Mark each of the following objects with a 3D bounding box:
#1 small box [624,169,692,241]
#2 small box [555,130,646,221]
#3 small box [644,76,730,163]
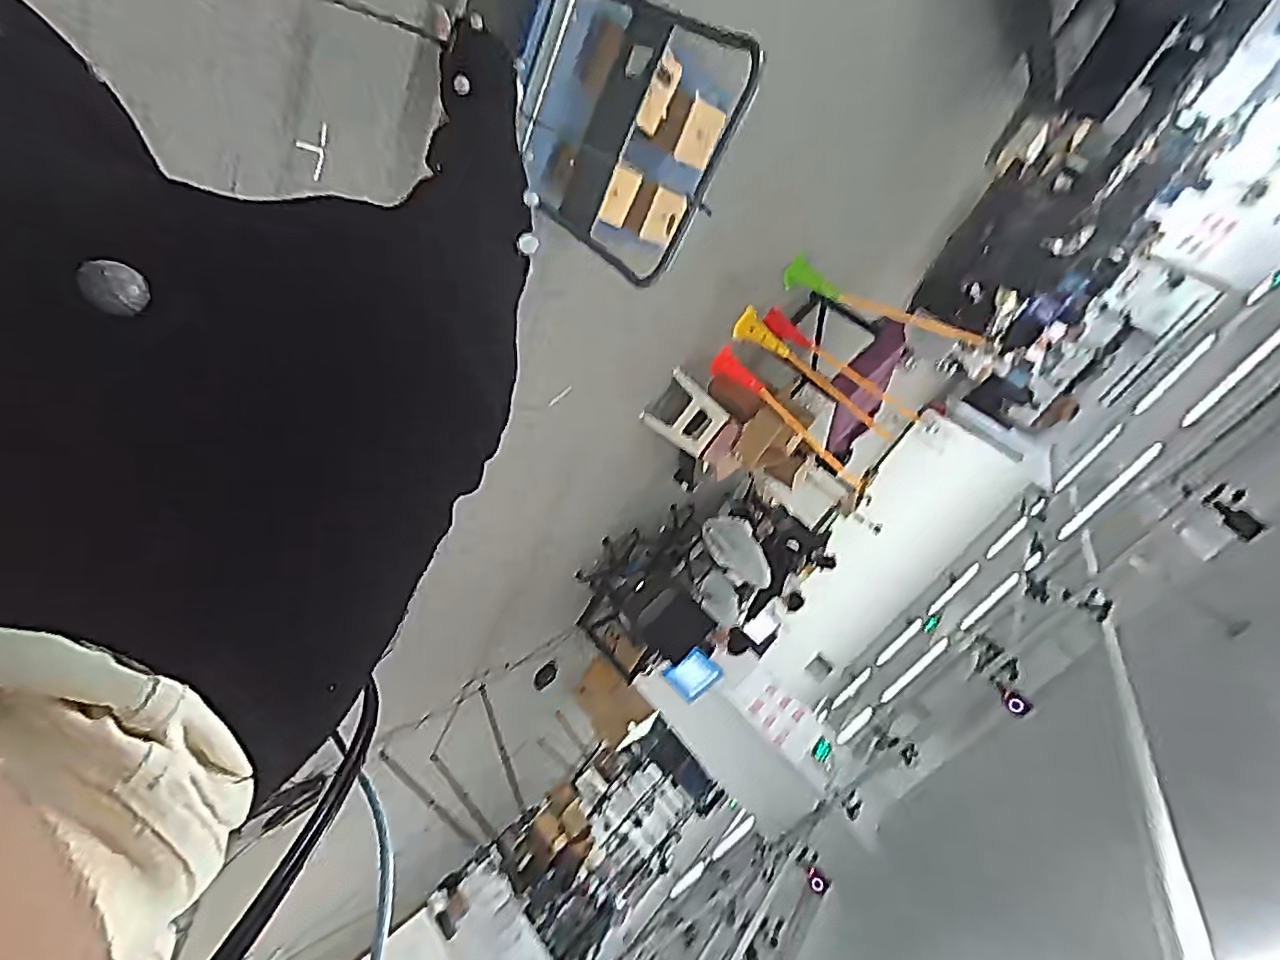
[{"bbox_3d":[0.038,-0.944,1.837,0.179,0.176,0.168,-14,139,-50],"label":"small box"},{"bbox_3d":[-0.120,-0.916,1.627,0.179,0.176,0.168,-11,138,-52],"label":"small box"},{"bbox_3d":[0.143,-1.139,1.708,0.179,0.176,0.168,-16,143,-49],"label":"small box"}]
